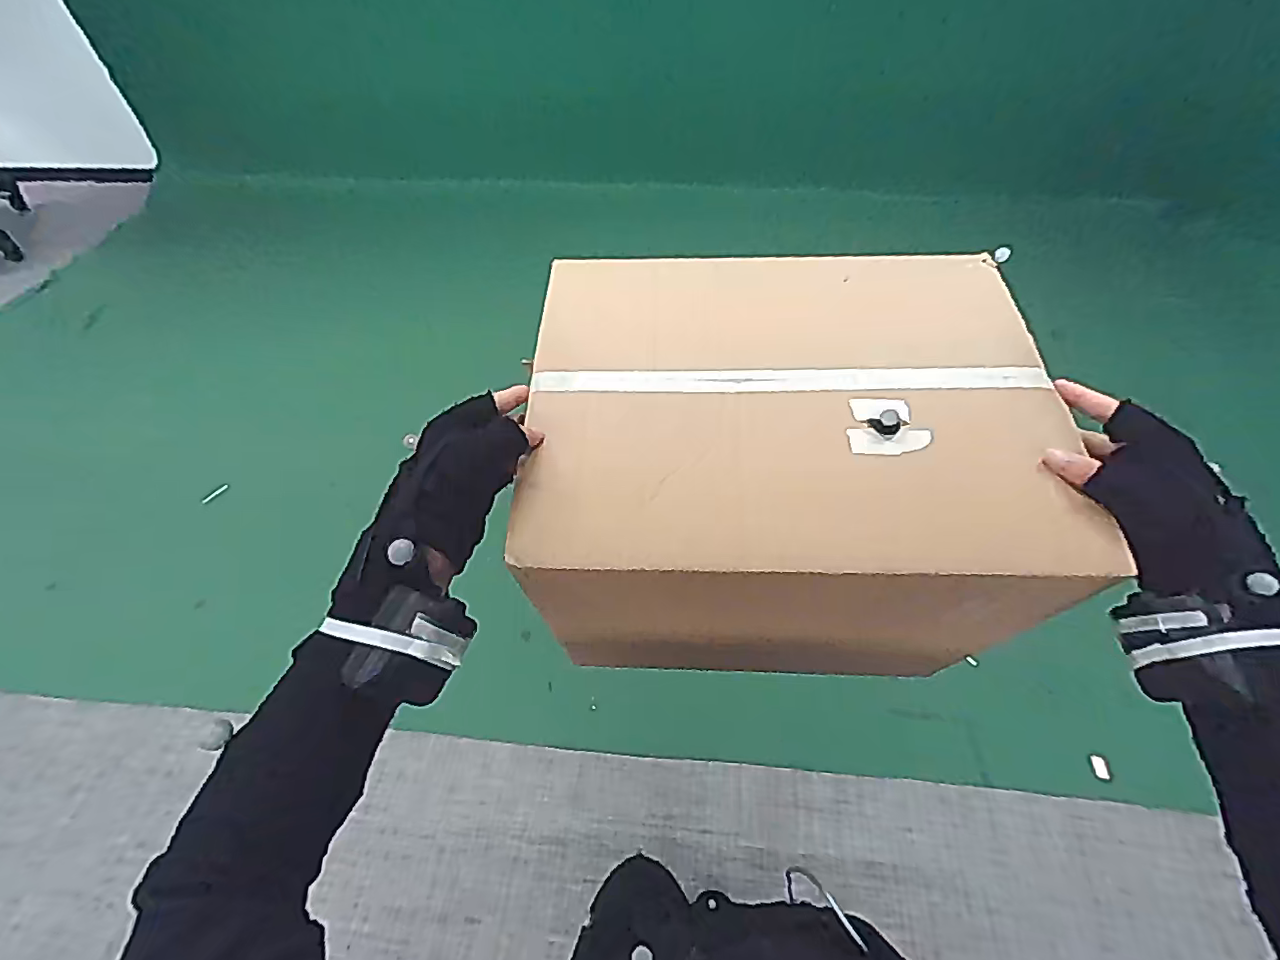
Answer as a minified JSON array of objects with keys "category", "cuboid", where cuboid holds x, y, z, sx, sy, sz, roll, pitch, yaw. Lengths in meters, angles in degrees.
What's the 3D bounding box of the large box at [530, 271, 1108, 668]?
[{"category":"large box","cuboid":[0.124,0.007,0.572,0.408,0.320,0.320,0,59,2]}]
